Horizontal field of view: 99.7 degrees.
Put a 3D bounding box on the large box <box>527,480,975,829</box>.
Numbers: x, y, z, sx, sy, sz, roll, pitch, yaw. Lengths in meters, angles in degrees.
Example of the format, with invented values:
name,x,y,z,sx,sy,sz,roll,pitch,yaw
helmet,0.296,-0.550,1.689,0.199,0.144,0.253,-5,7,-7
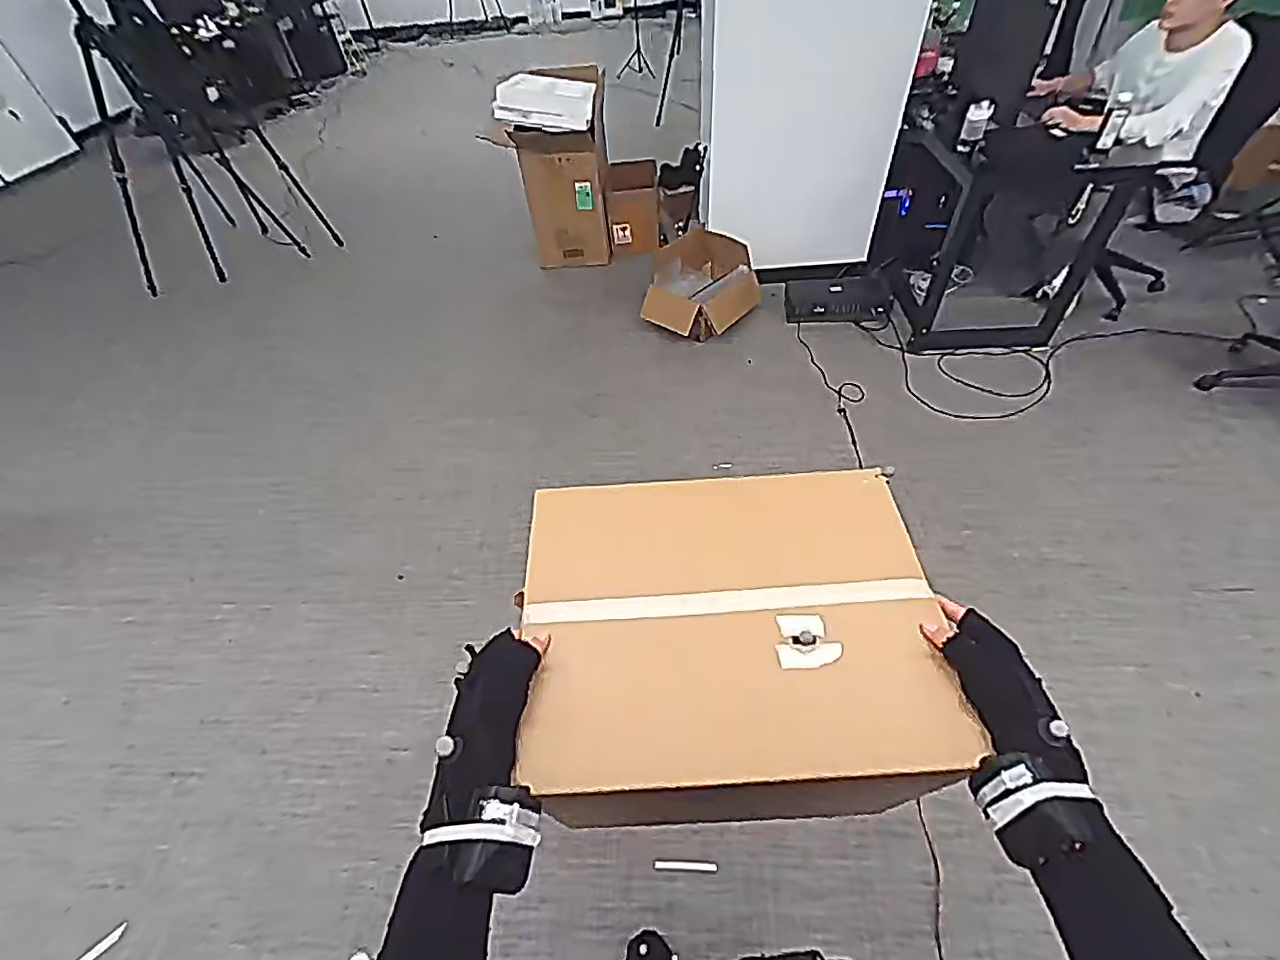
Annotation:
name,x,y,z,sx,sy,sz,roll,pitch,yaw
large box,0.092,0.225,0.676,0.408,0.320,0.320,-4,53,0
